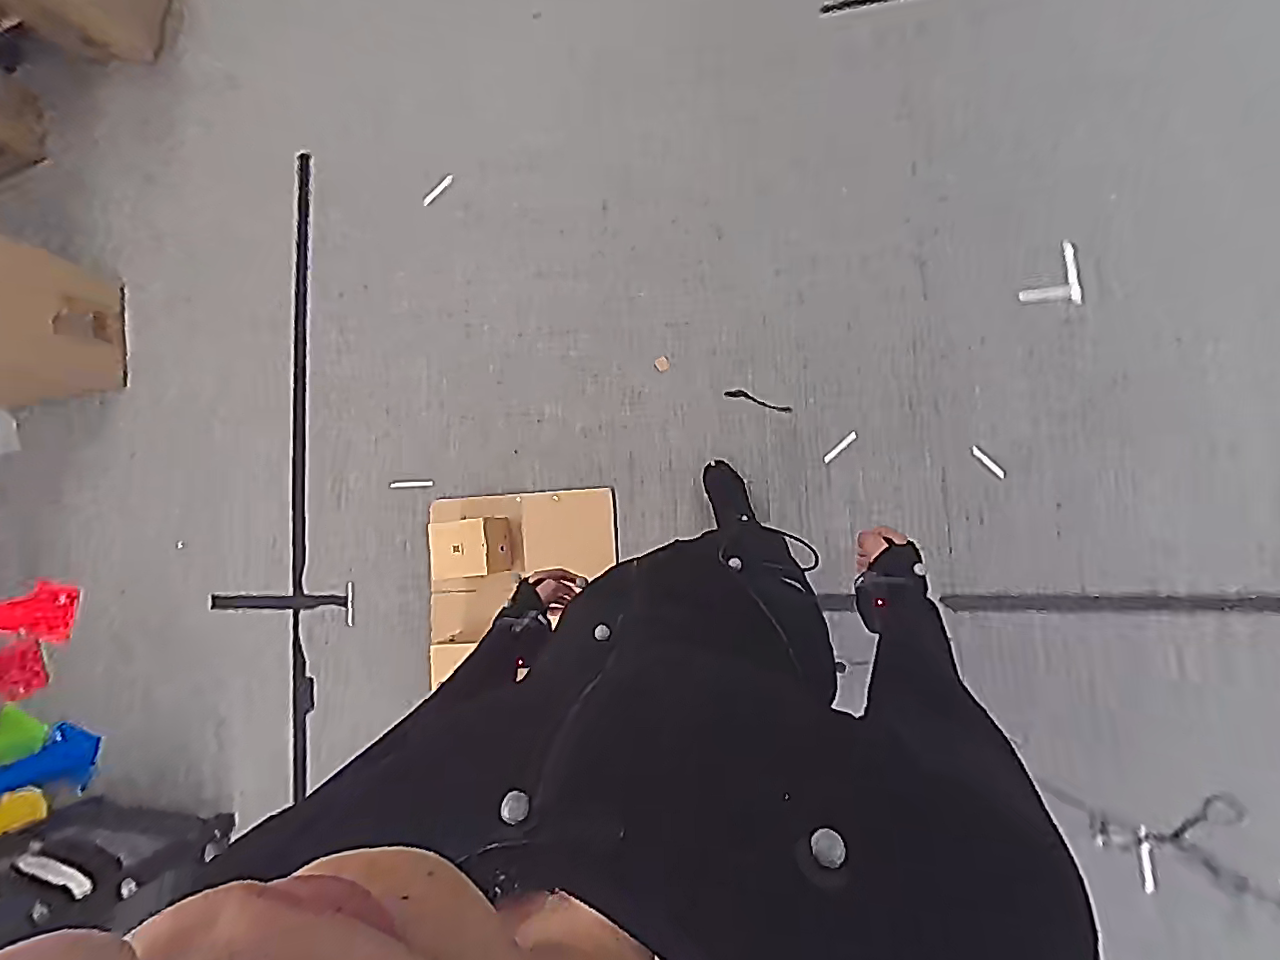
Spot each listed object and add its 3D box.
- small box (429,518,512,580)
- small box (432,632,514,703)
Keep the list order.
[{"bbox_3d":[-0.507,0.206,1.628,0.179,0.176,0.168,-8,84,8],"label":"small box"},{"bbox_3d":[-0.489,0.548,1.591,0.179,0.176,0.168,-5,86,9],"label":"small box"}]
